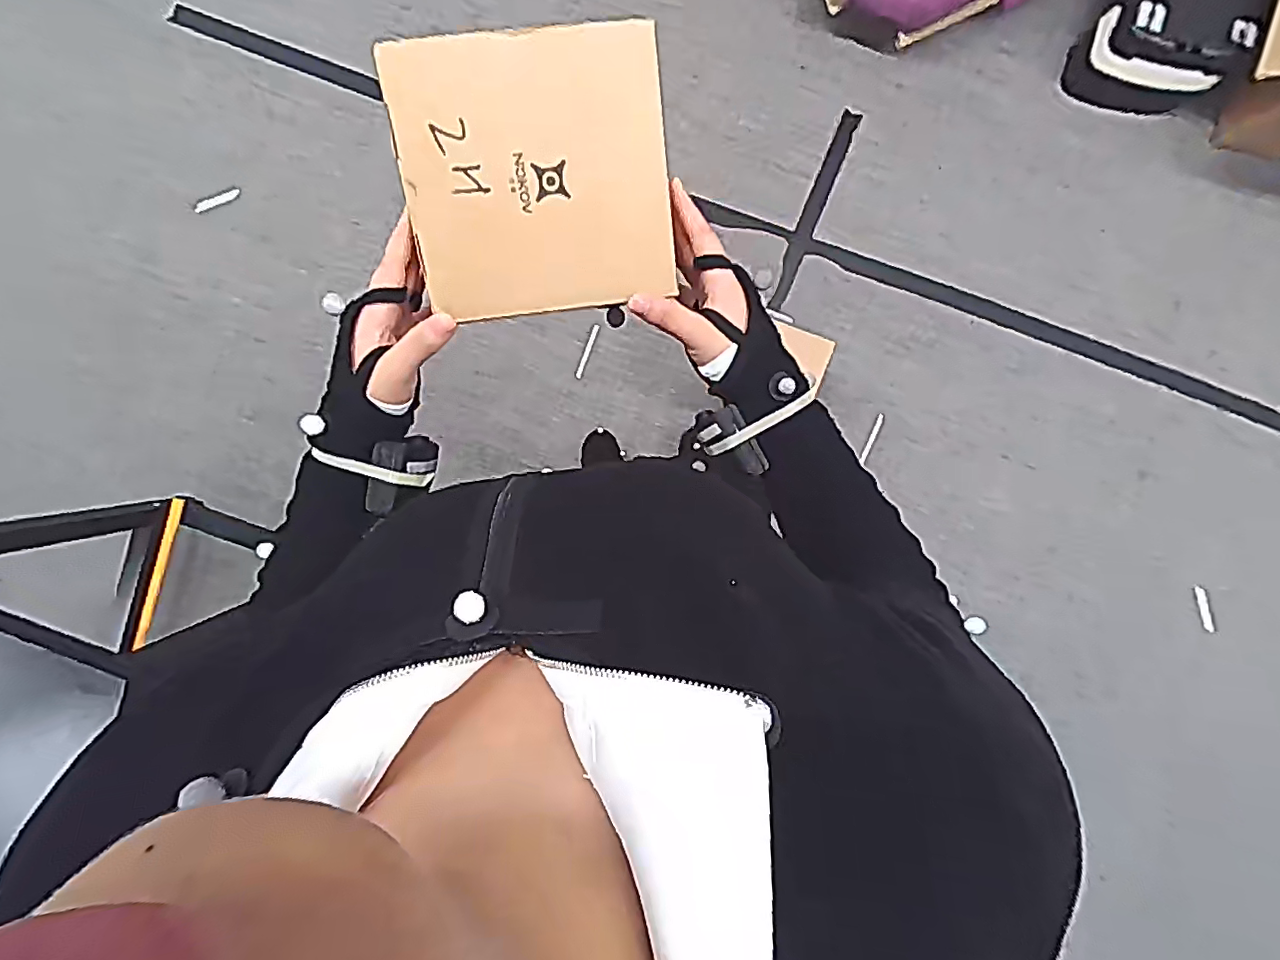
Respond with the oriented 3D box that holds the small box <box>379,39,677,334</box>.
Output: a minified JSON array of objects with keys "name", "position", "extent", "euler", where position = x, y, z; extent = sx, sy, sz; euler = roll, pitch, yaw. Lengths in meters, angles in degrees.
[{"name":"small box","position":[-0.075,-0.215,0.435],"extent":[0.179,0.176,0.168],"euler":[-8,108,-3]}]

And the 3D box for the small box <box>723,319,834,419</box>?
[{"name":"small box","position":[0.298,-0.239,1.210],"extent":[0.179,0.176,0.168],"euler":[21,97,-1]}]
